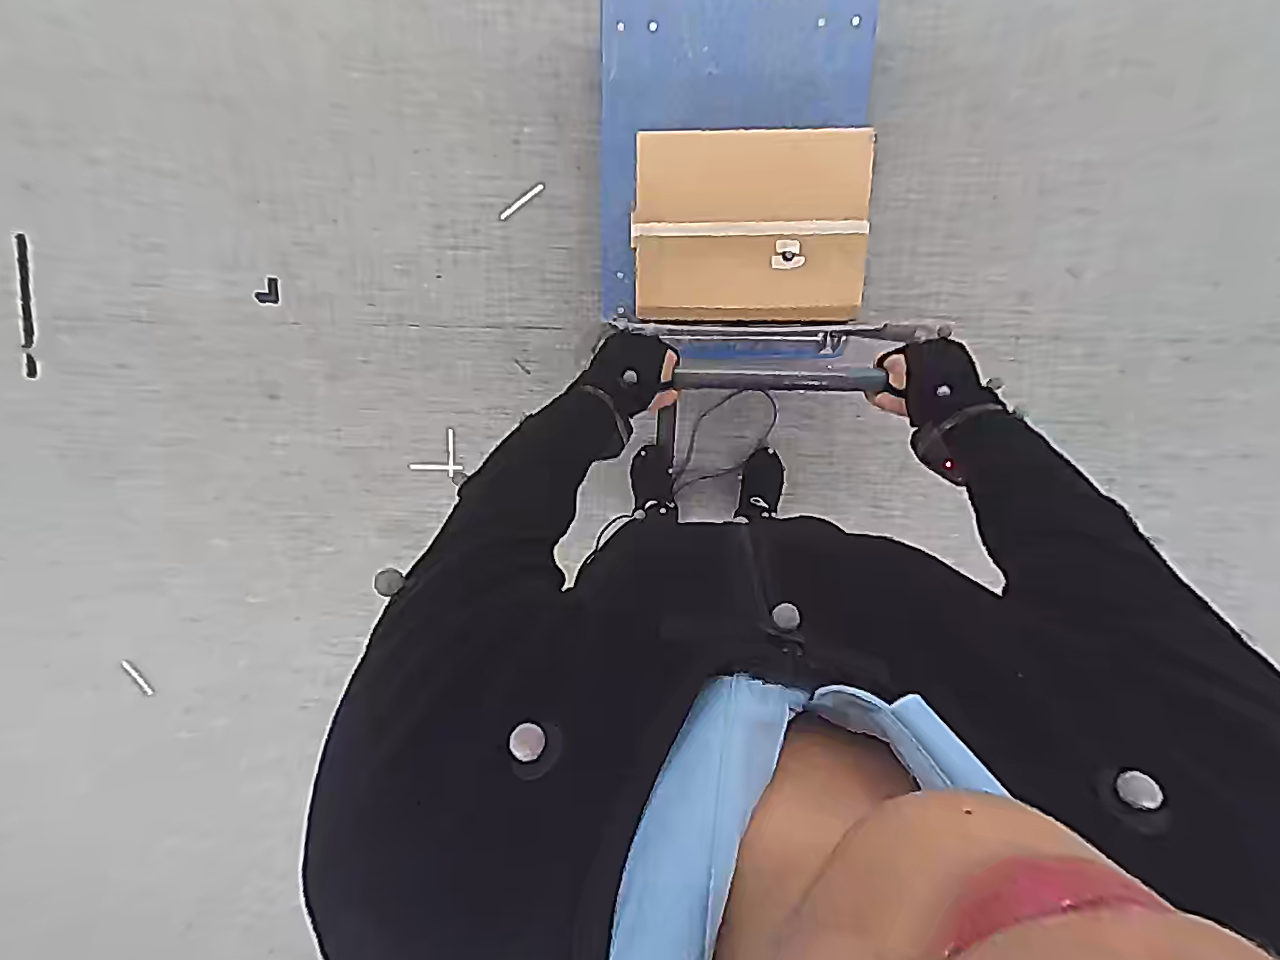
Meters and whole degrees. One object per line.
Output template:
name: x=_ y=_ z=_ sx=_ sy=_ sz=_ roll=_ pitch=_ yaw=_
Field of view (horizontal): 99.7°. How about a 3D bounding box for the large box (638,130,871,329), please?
large box: x=0.204 y=-0.481 z=1.109 sx=0.408 sy=0.320 sz=0.320 roll=0 pitch=104 yaw=2
